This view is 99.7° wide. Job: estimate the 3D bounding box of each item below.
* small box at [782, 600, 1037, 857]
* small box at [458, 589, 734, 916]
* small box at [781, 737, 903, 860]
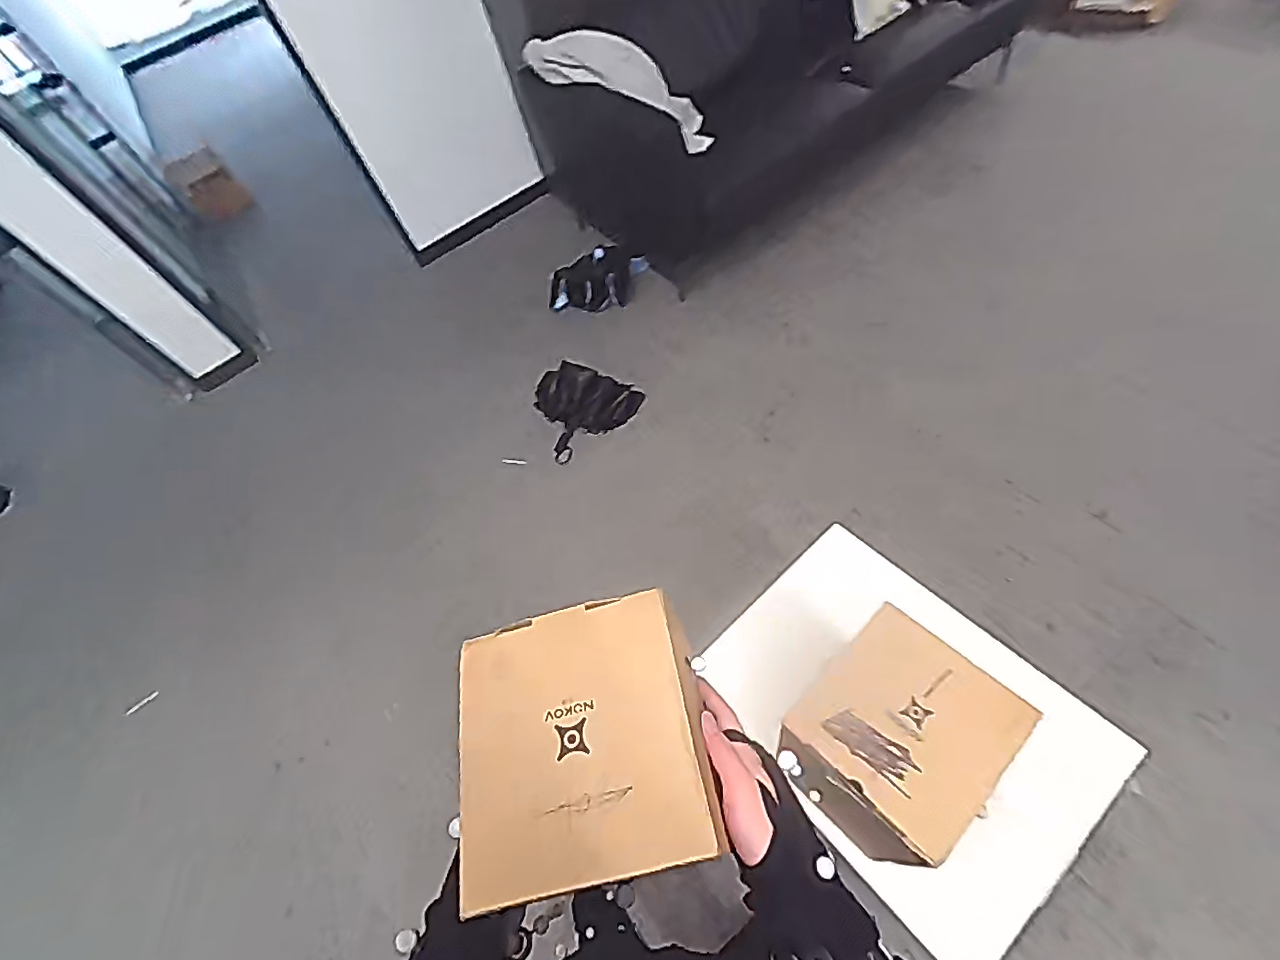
[{"bbox_3d":[0.273,0.271,0.586,0.179,0.176,0.168,-41,58,-17],"label":"small box"},{"bbox_3d":[-0.031,0.217,0.436,0.168,0.176,0.179,-18,55,3],"label":"small box"},{"bbox_3d":[0.302,0.363,0.720,0.179,0.176,0.168,-42,57,-18],"label":"small box"}]
